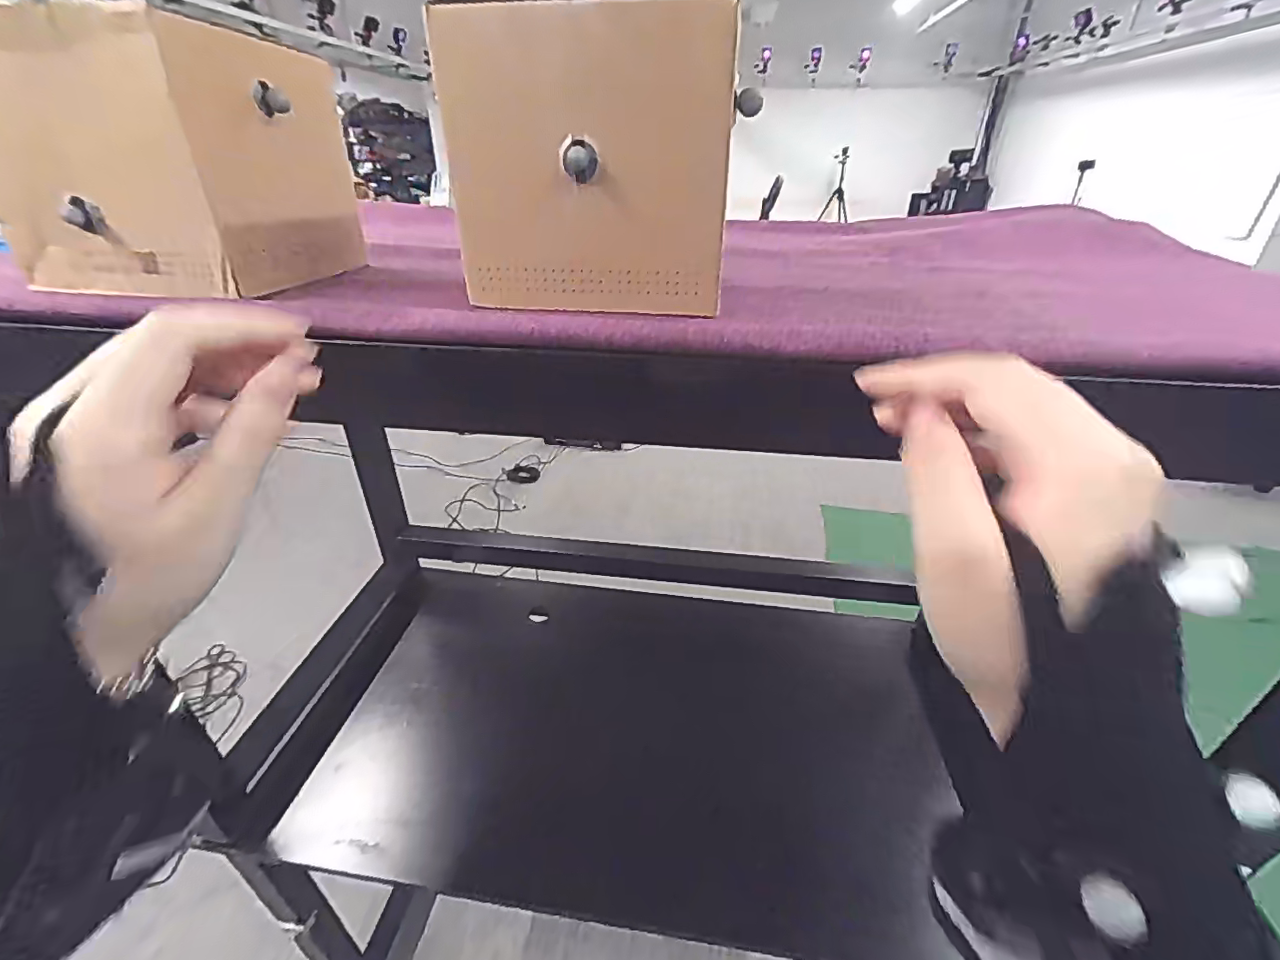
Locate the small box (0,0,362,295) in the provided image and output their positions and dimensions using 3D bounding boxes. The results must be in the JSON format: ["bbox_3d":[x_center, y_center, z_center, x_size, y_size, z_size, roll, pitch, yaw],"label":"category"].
[{"bbox_3d":[-0.345,-0.251,0.423,0.168,0.176,0.179,4,30,4],"label":"small box"}]
